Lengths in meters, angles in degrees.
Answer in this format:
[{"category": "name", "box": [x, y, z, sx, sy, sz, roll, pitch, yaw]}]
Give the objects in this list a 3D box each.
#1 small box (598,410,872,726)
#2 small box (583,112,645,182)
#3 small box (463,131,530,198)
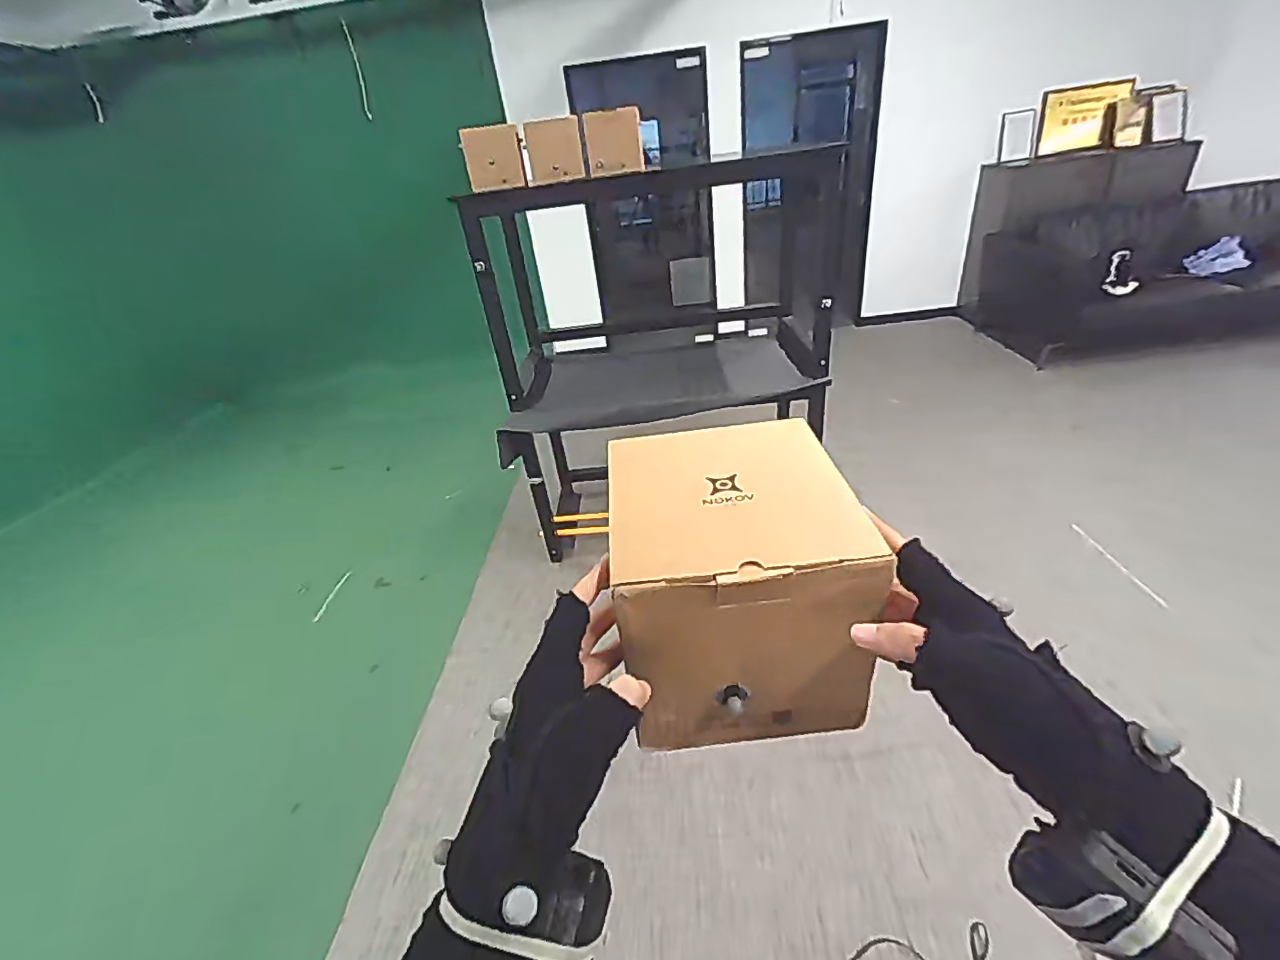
[{"category": "small box", "box": [0.060, 0.062, 0.430, 0.168, 0.176, 0.179, -7, 32, 1]}, {"category": "small box", "box": [-0.077, -1.058, 1.728, 0.168, 0.176, 0.179, -5, 30, 6]}, {"category": "small box", "box": [-0.457, -1.015, 1.745, 0.168, 0.176, 0.179, -8, 30, -3]}]
